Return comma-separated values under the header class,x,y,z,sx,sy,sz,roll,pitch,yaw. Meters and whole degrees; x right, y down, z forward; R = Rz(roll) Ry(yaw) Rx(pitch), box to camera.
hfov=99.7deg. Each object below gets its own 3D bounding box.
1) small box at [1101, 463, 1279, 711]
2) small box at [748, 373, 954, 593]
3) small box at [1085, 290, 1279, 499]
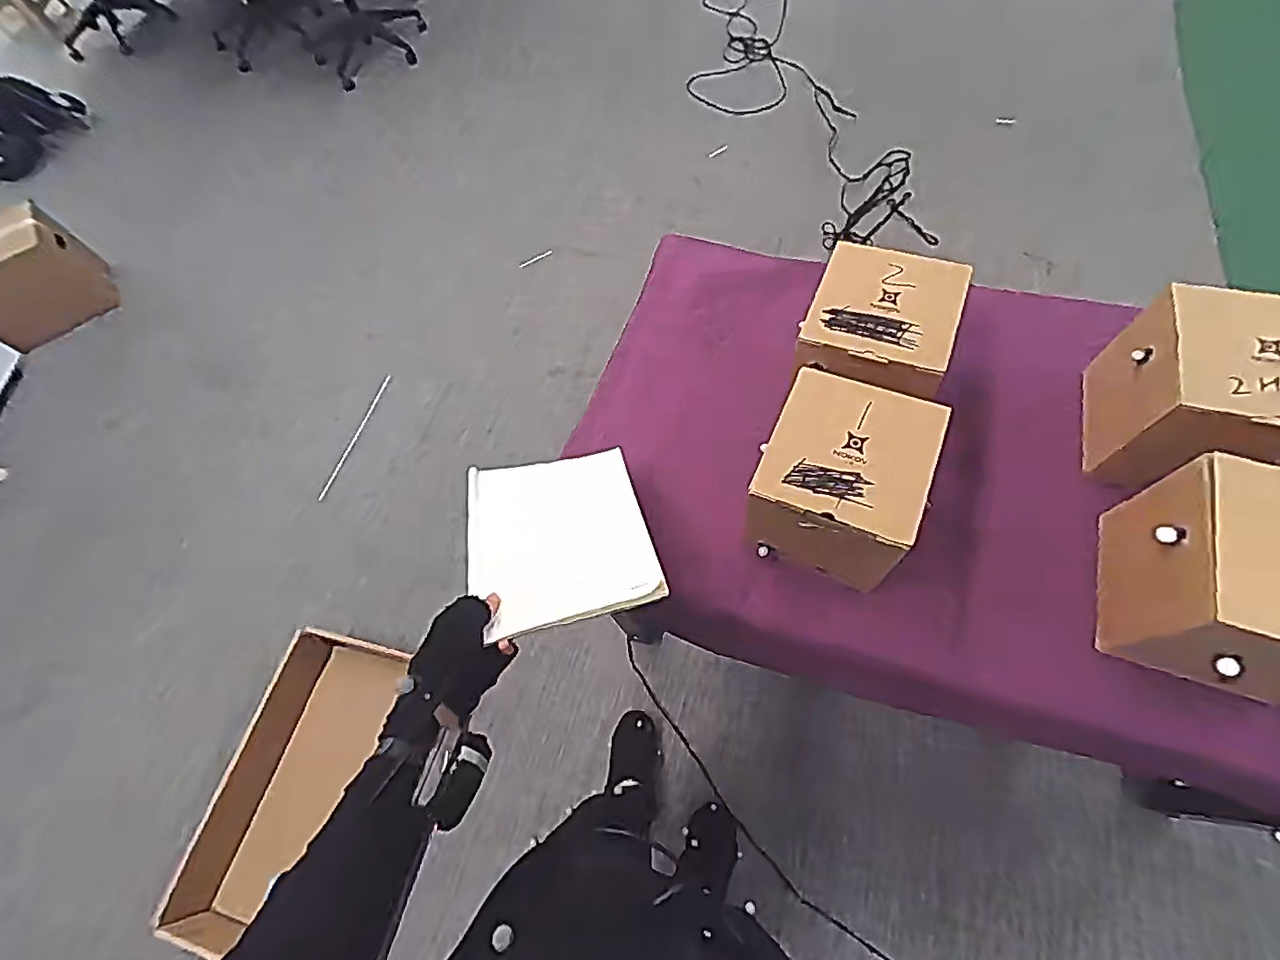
class,x,y,z,sx,sy,sz,roll,pitch,yaw
small box,0.604,0.114,0.538,0.168,0.176,0.179,17,68,16
small box,0.234,0.011,0.636,0.168,0.176,0.179,22,68,17
small box,0.658,-0.084,0.628,0.168,0.176,0.179,15,67,14
